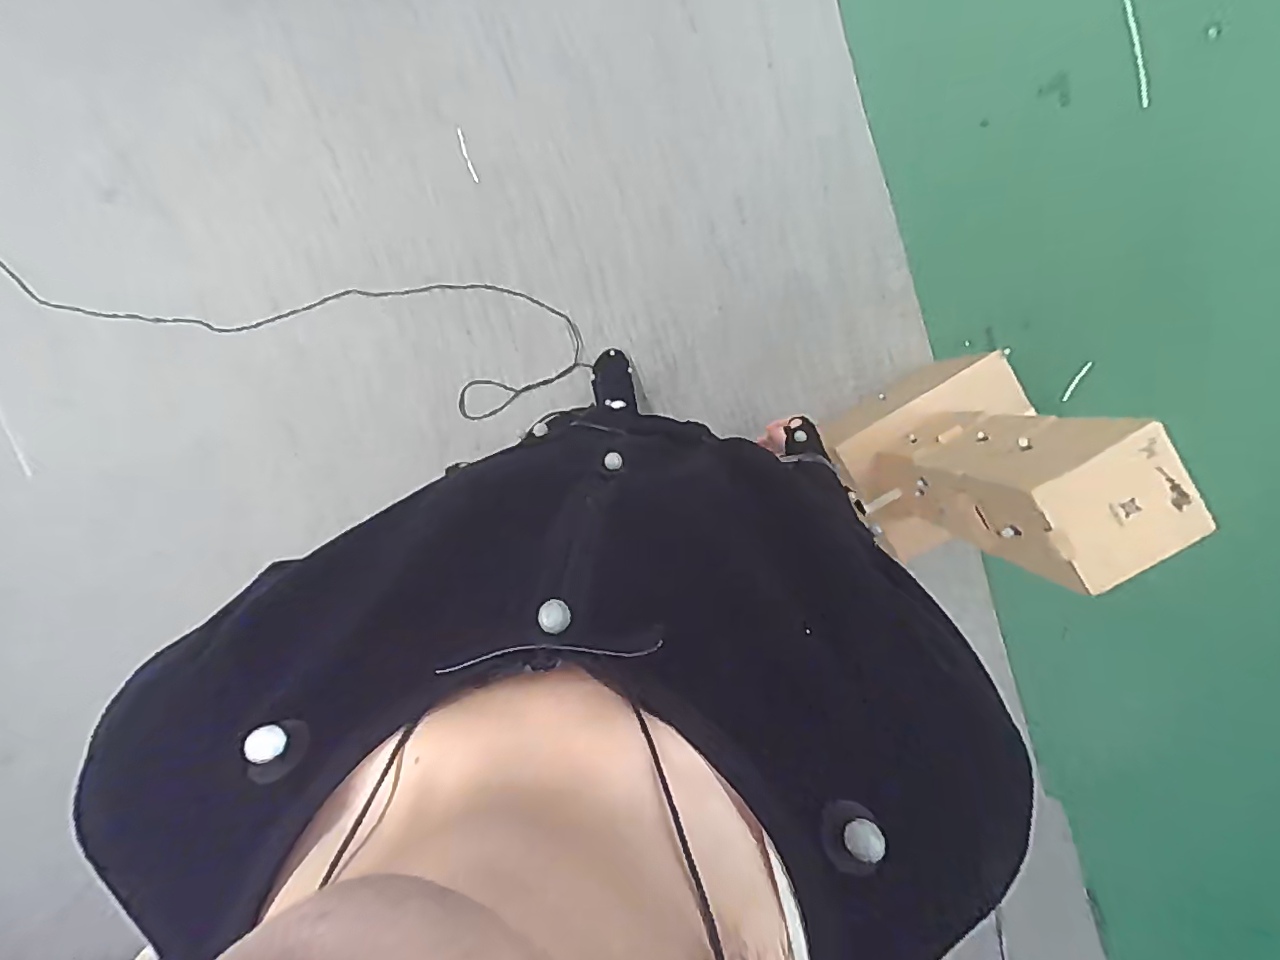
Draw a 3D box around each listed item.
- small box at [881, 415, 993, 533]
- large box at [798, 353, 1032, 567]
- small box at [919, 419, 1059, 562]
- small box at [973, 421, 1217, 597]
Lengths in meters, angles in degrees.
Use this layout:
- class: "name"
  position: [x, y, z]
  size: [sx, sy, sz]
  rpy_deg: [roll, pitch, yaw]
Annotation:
- class: "small box"
  position: [0.617, -0.013, 1.079]
  size: [0.168, 0.176, 0.179]
  rpy_deg: [-31, 95, 6]
- class: "large box"
  position: [0.667, -0.052, 1.318]
  size: [0.408, 0.320, 0.320]
  rpy_deg: [-32, 96, 4]
- class: "small box"
  position: [0.609, 0.011, 0.917]
  size: [0.179, 0.176, 0.168]
  rpy_deg: [-33, 94, 5]
- class: "small box"
  position: [0.607, 0.031, 0.754]
  size: [0.179, 0.176, 0.168]
  rpy_deg: [-32, 95, 7]
